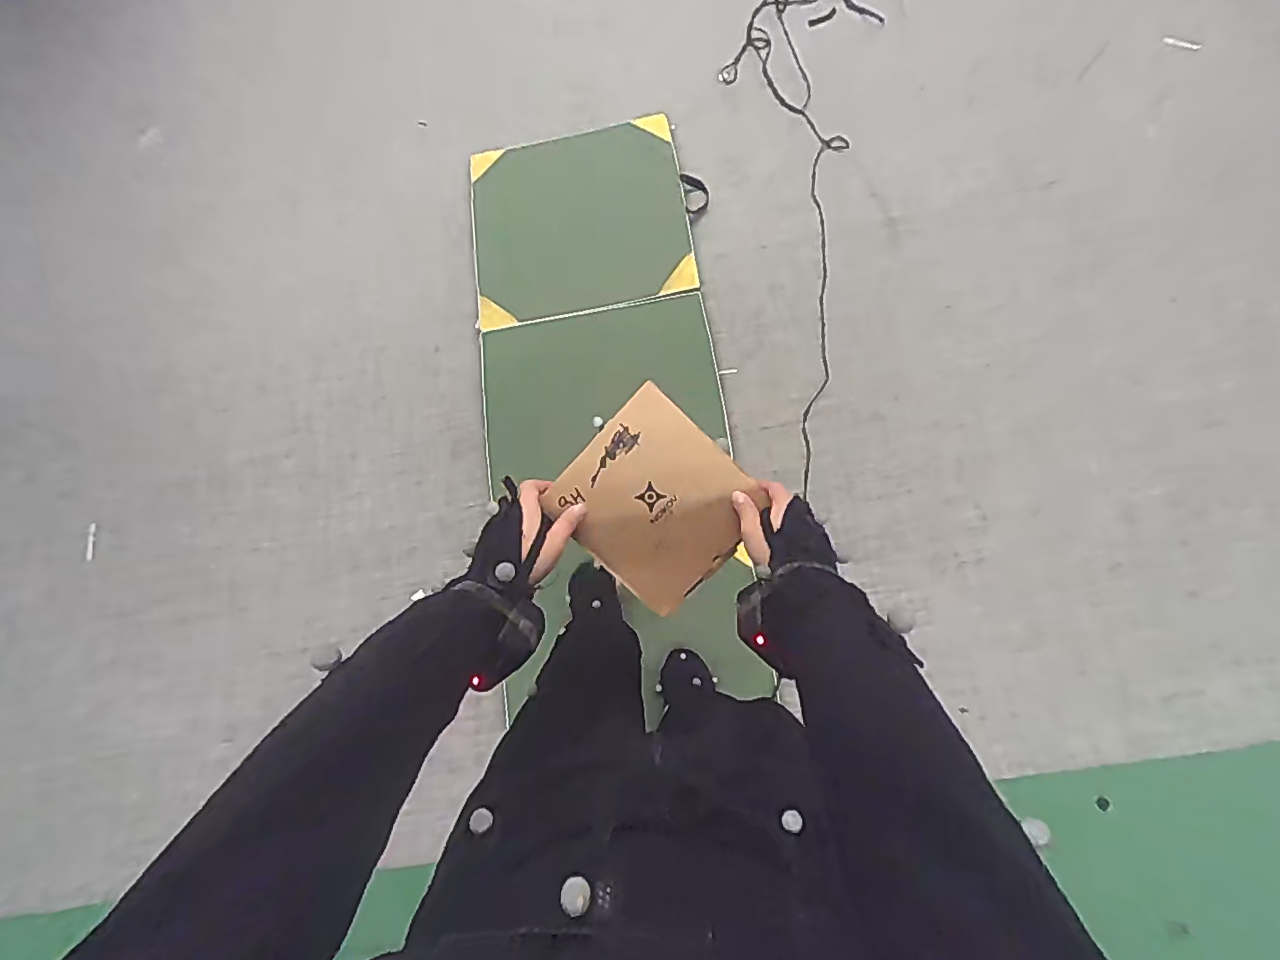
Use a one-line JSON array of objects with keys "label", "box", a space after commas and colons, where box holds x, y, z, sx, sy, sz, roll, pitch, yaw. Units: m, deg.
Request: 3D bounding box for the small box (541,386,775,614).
[{"label": "small box", "box": [0.019, 0.011, 0.614, 0.179, 0.176, 0.168, 44, 95, -4]}]
